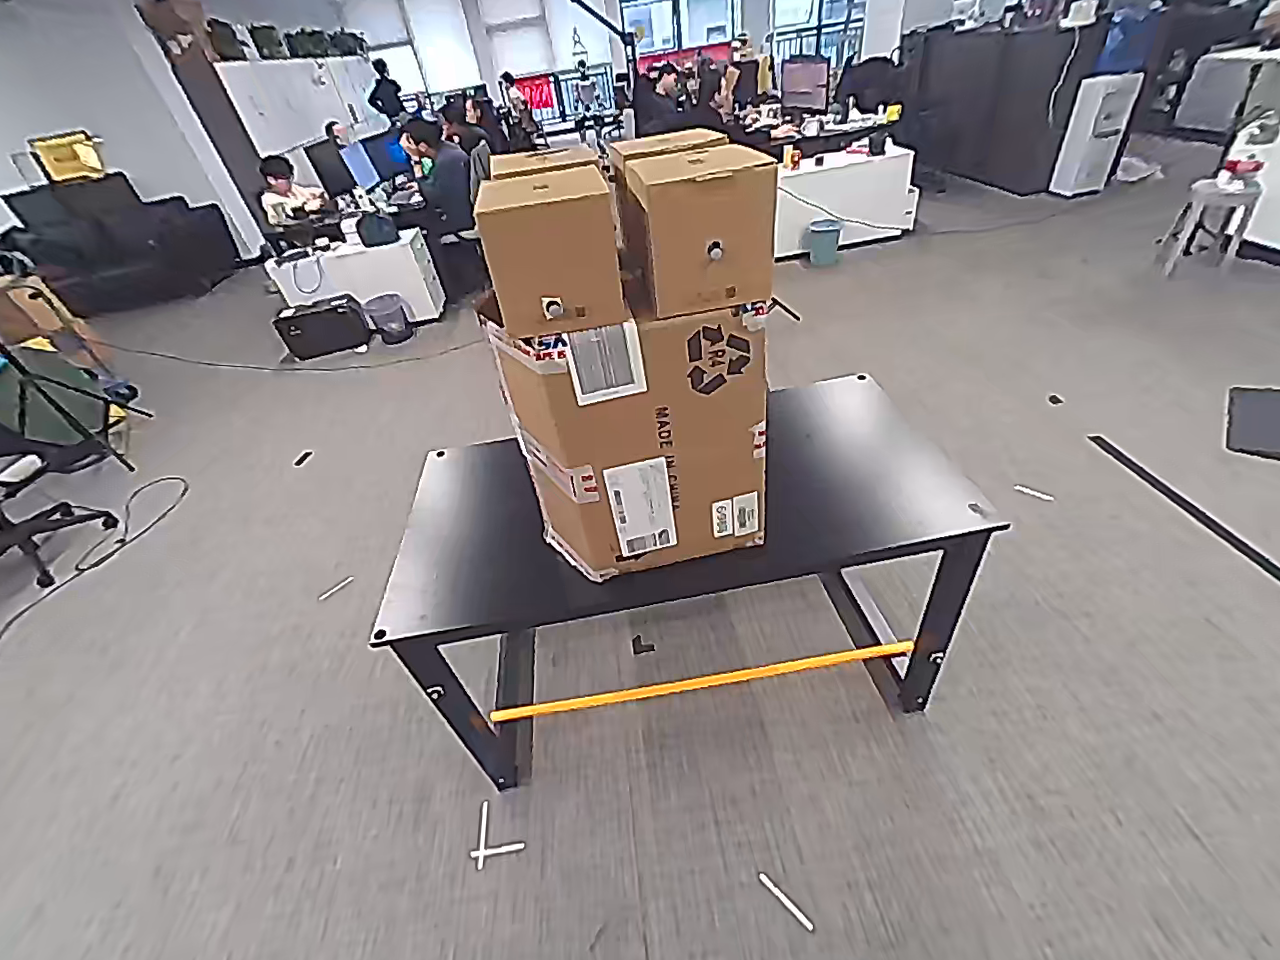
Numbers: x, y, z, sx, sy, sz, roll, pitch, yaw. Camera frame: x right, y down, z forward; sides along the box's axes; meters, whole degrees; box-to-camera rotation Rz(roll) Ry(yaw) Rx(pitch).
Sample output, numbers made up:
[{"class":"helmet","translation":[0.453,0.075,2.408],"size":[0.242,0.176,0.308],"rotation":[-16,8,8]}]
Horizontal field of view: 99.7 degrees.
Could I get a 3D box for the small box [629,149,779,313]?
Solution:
[{"class":"small box","translation":[0.084,-0.344,0.757],"size":[0.168,0.176,0.179],"rotation":[-10,40,-4]}]
